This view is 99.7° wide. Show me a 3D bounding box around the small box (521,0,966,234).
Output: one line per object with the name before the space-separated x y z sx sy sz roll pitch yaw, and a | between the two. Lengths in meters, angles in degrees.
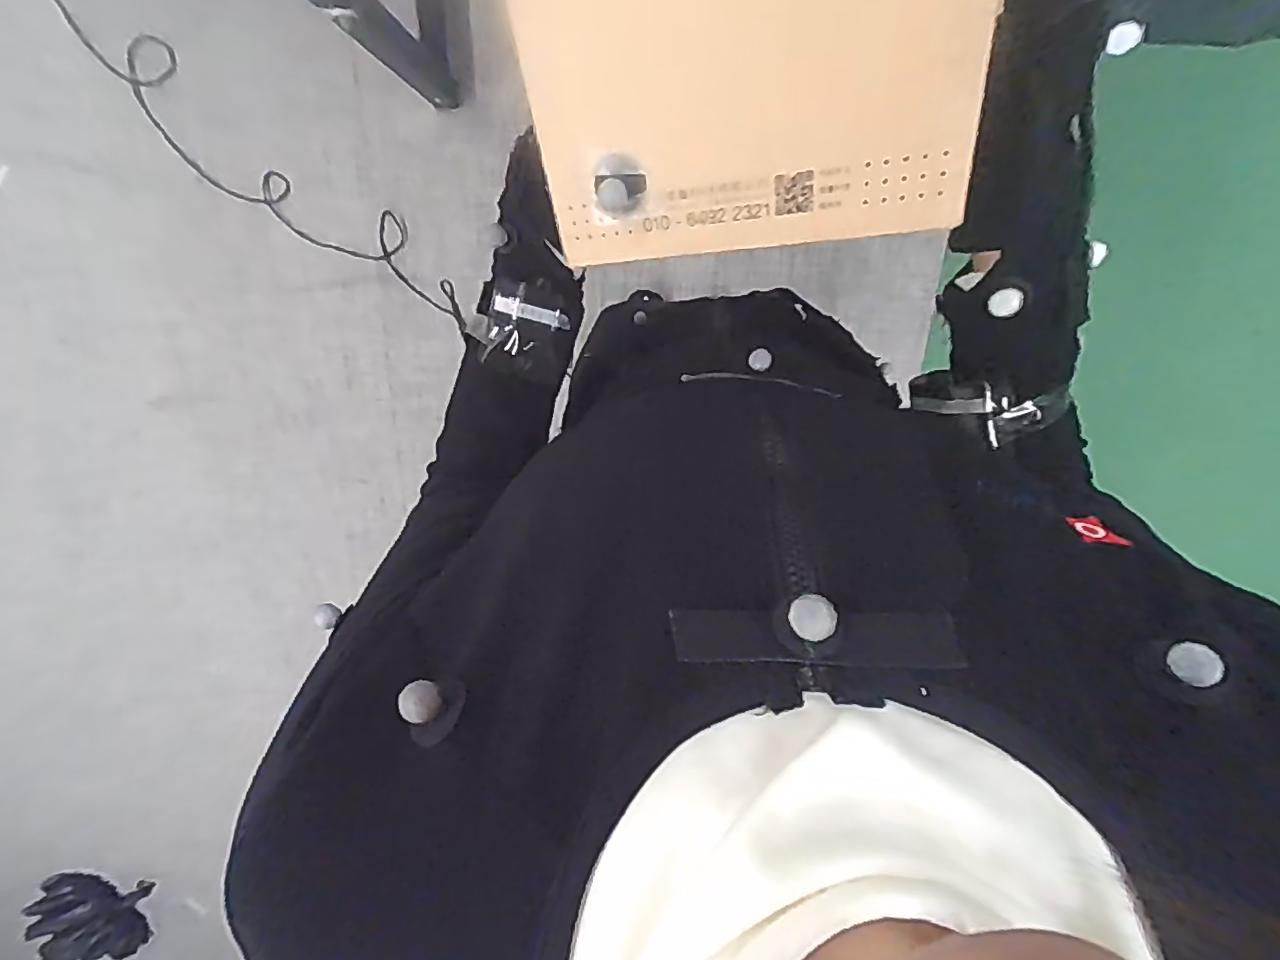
small box | 0.052 -0.226 0.258 0.168 0.179 0.176 1 127 18
